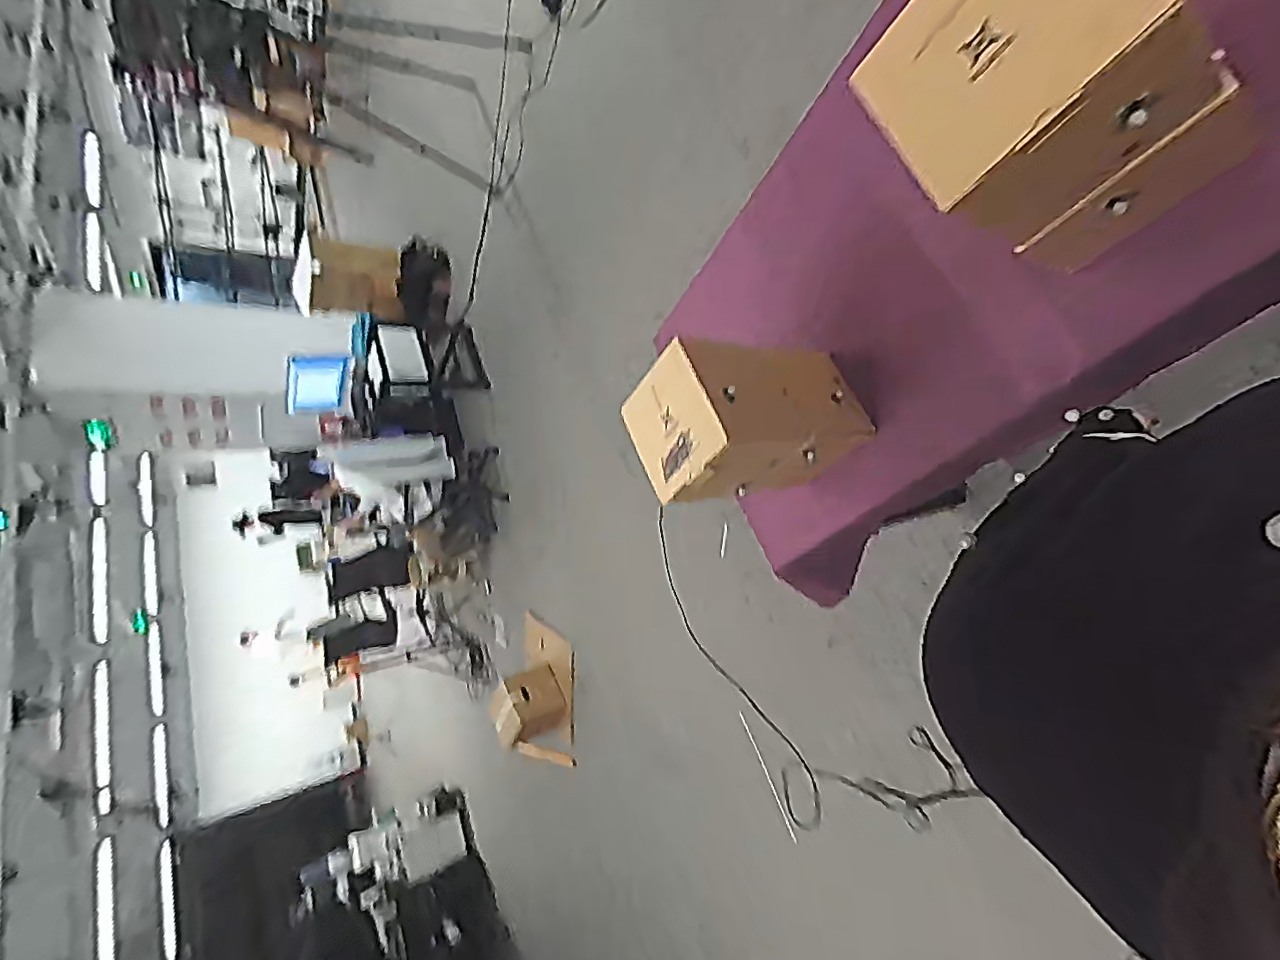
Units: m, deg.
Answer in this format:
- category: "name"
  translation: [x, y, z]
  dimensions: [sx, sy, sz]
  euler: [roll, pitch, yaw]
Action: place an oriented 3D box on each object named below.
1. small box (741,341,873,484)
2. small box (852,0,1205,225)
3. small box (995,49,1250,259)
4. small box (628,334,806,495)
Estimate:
- category: "small box"
  translation: [0.249, -0.109, 0.910]
  dimensions: [0.179, 0.176, 0.168]
  euler: [-47, 58, 46]
- category: "small box"
  translation: [0.334, -0.353, 0.475]
  dimensions: [0.168, 0.176, 0.179]
  euler: [-42, 62, 48]
- category: "small box"
  translation: [0.468, -0.360, 0.568]
  dimensions: [0.179, 0.176, 0.168]
  euler: [-42, 63, 49]
- category: "small box"
  translation: [0.115, -0.097, 0.815]
  dimensions: [0.168, 0.176, 0.179]
  euler: [-47, 57, 45]
